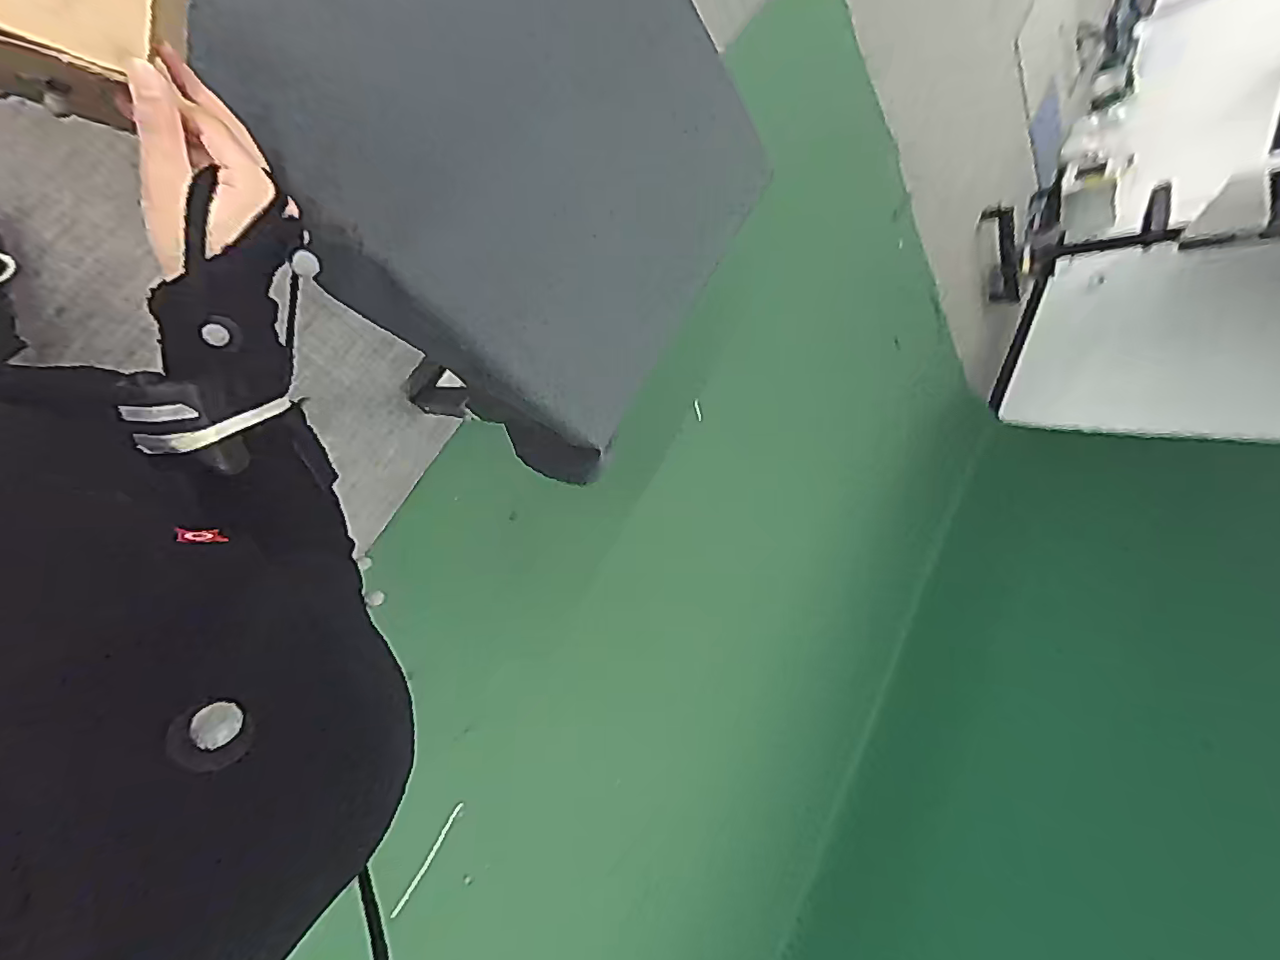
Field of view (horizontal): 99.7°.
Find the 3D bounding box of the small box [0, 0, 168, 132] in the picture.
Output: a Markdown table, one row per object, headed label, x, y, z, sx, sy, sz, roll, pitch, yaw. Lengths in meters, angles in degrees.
| label | x | y | z | sx | sy | sz | roll | pitch | yaw |
| --- | --- | --- | --- | --- | --- | --- | --- | --- | --- |
| small box | -0.345 | -0.304 | 0.263 | 0.168 | 0.176 | 0.179 | 2 | 106 | -38 |
